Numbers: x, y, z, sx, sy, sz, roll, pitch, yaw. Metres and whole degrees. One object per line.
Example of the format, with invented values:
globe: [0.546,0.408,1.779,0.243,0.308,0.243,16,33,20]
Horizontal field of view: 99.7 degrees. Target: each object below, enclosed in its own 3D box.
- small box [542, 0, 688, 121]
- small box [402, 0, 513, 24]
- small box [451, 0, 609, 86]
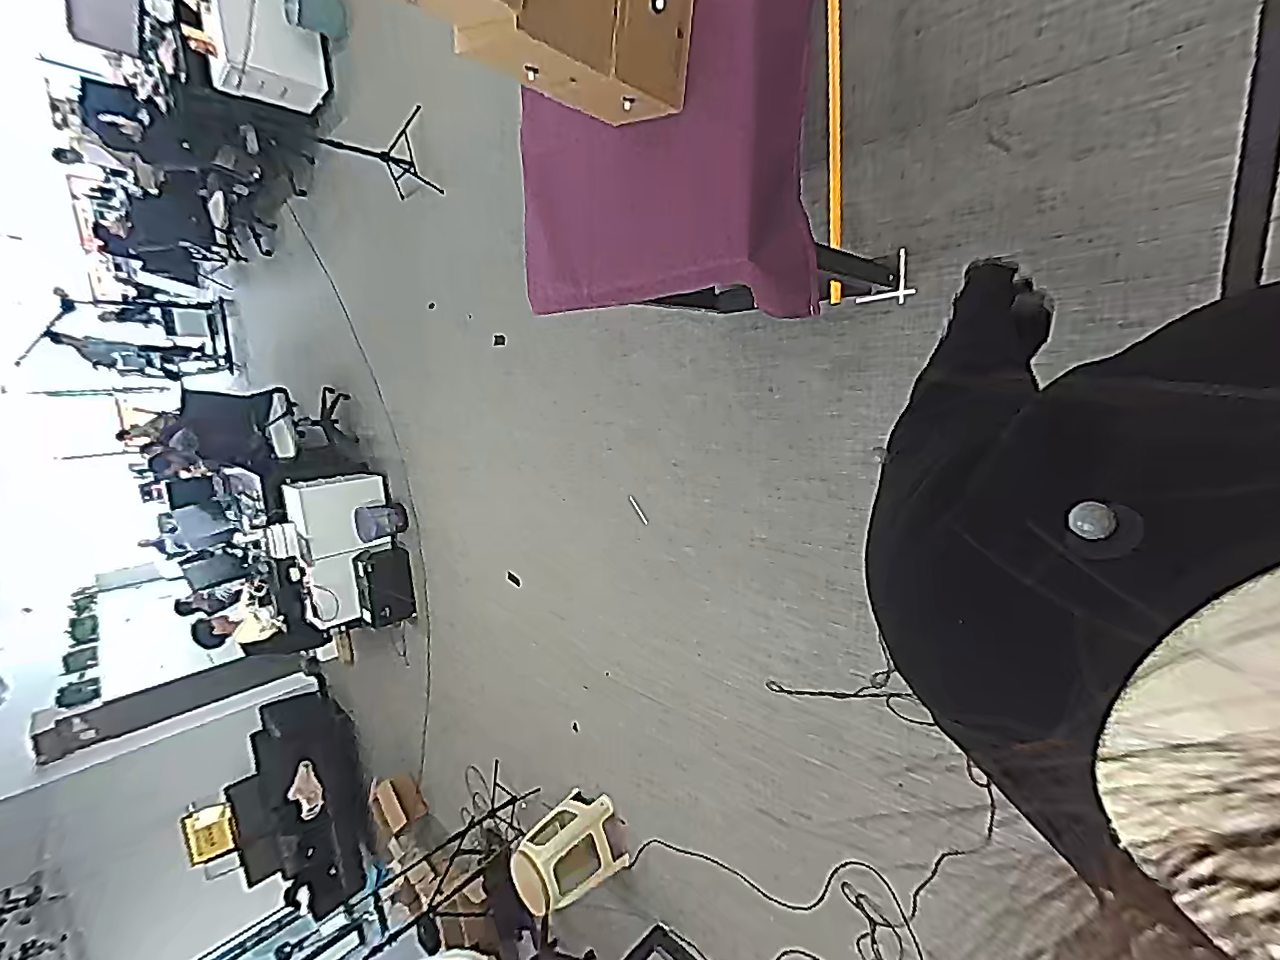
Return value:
small box: [-0.041,-0.722,0.898,0.179,0.176,0.168,22,114,40]
small box: [-0.255,-0.688,0.650,0.179,0.176,0.168,29,118,37]
small box: [-0.156,-0.701,0.783,0.168,0.176,0.179,23,114,39]
